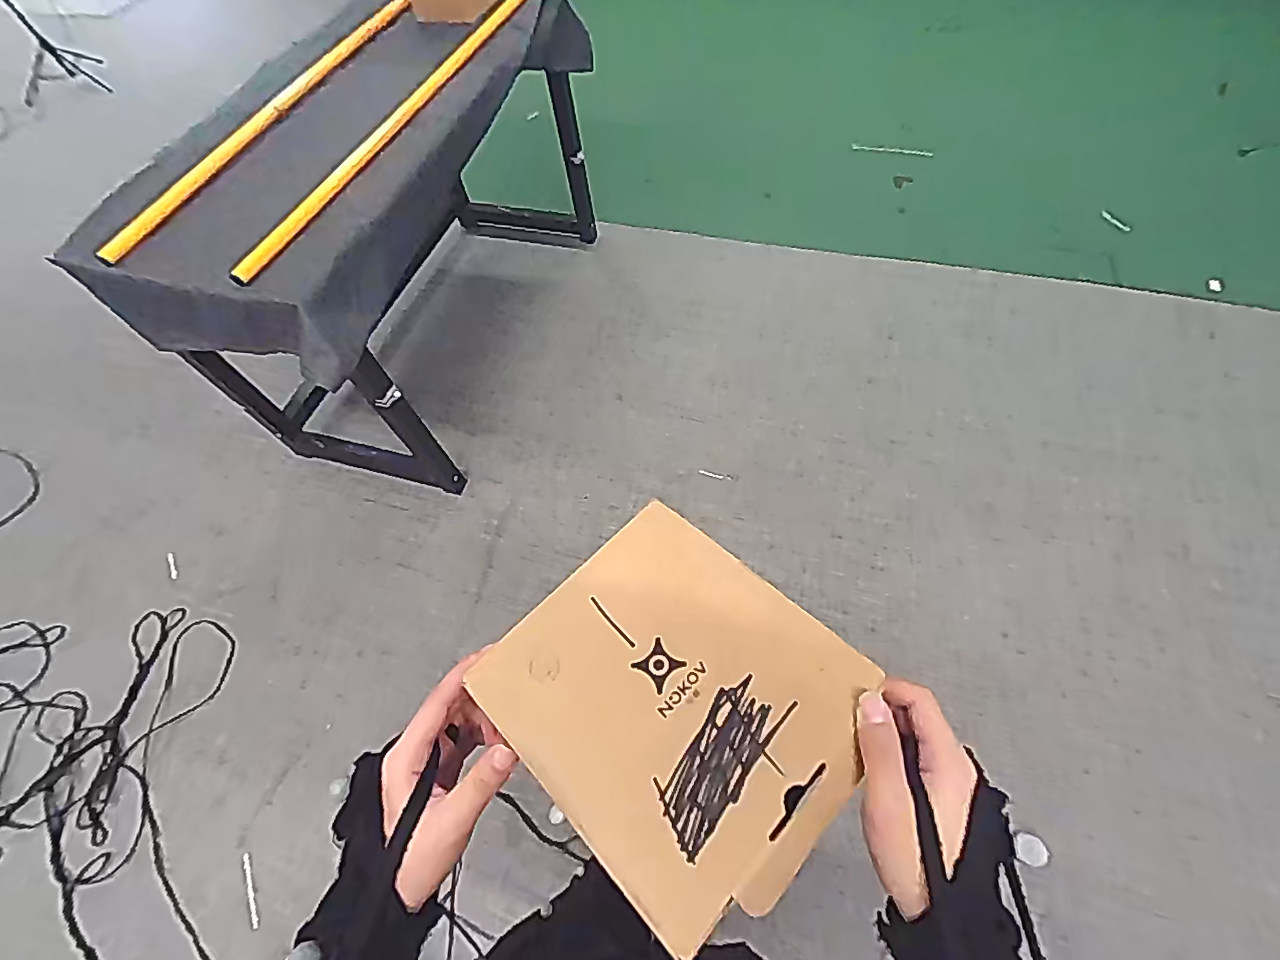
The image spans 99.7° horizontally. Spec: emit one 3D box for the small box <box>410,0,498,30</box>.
[{"bbox_3d":[-0.493,-1.296,1.391,0.179,0.176,0.168,14,63,14],"label":"small box"}]
